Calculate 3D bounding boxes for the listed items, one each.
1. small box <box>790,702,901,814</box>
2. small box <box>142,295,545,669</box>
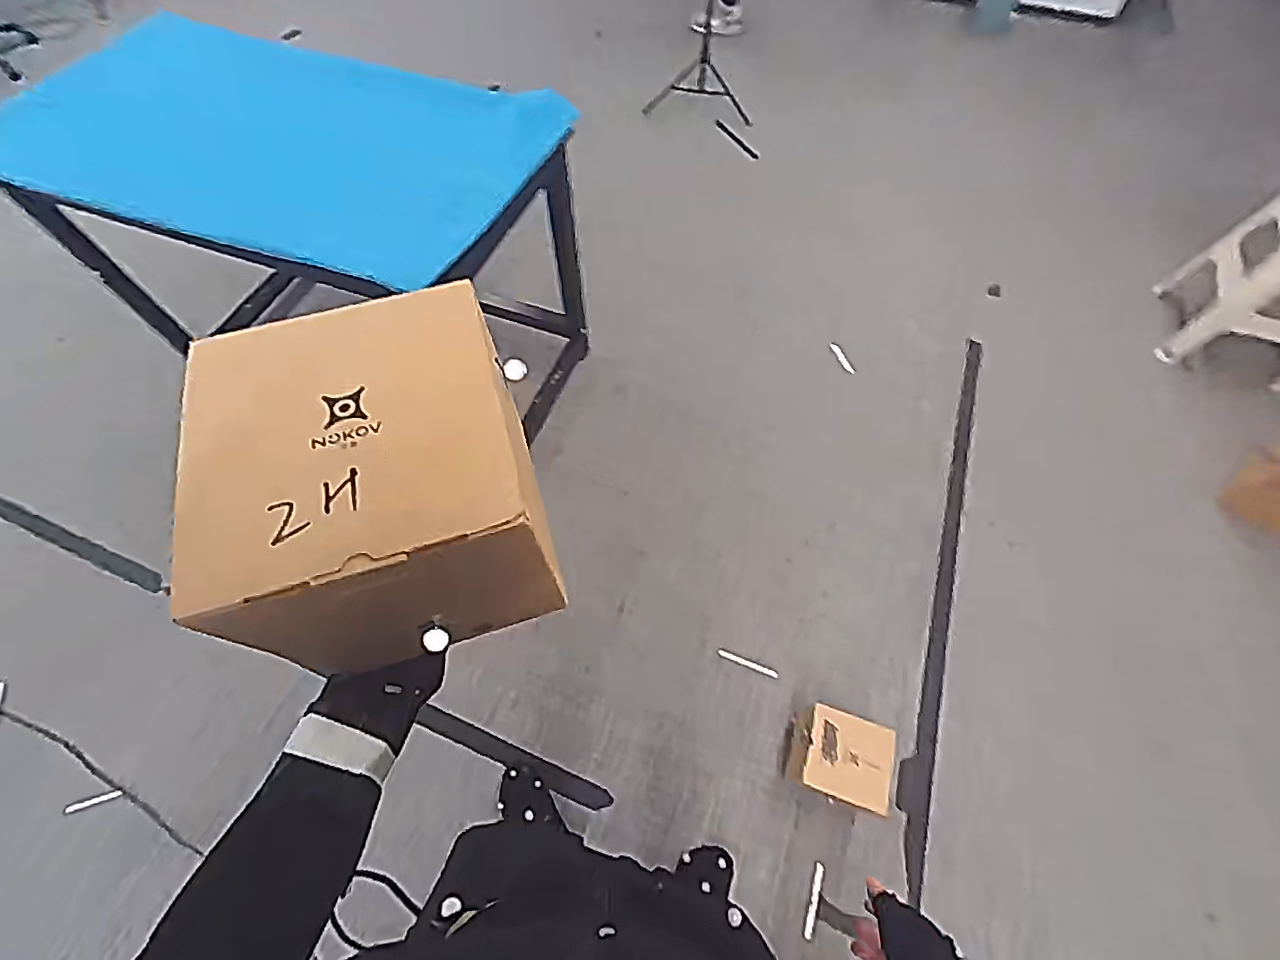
[{"bbox_3d":[0.448,0.616,1.200,0.179,0.176,0.168,18,64,9],"label":"small box"},{"bbox_3d":[-0.169,0.012,0.363,0.168,0.176,0.179,-14,66,-5],"label":"small box"}]
